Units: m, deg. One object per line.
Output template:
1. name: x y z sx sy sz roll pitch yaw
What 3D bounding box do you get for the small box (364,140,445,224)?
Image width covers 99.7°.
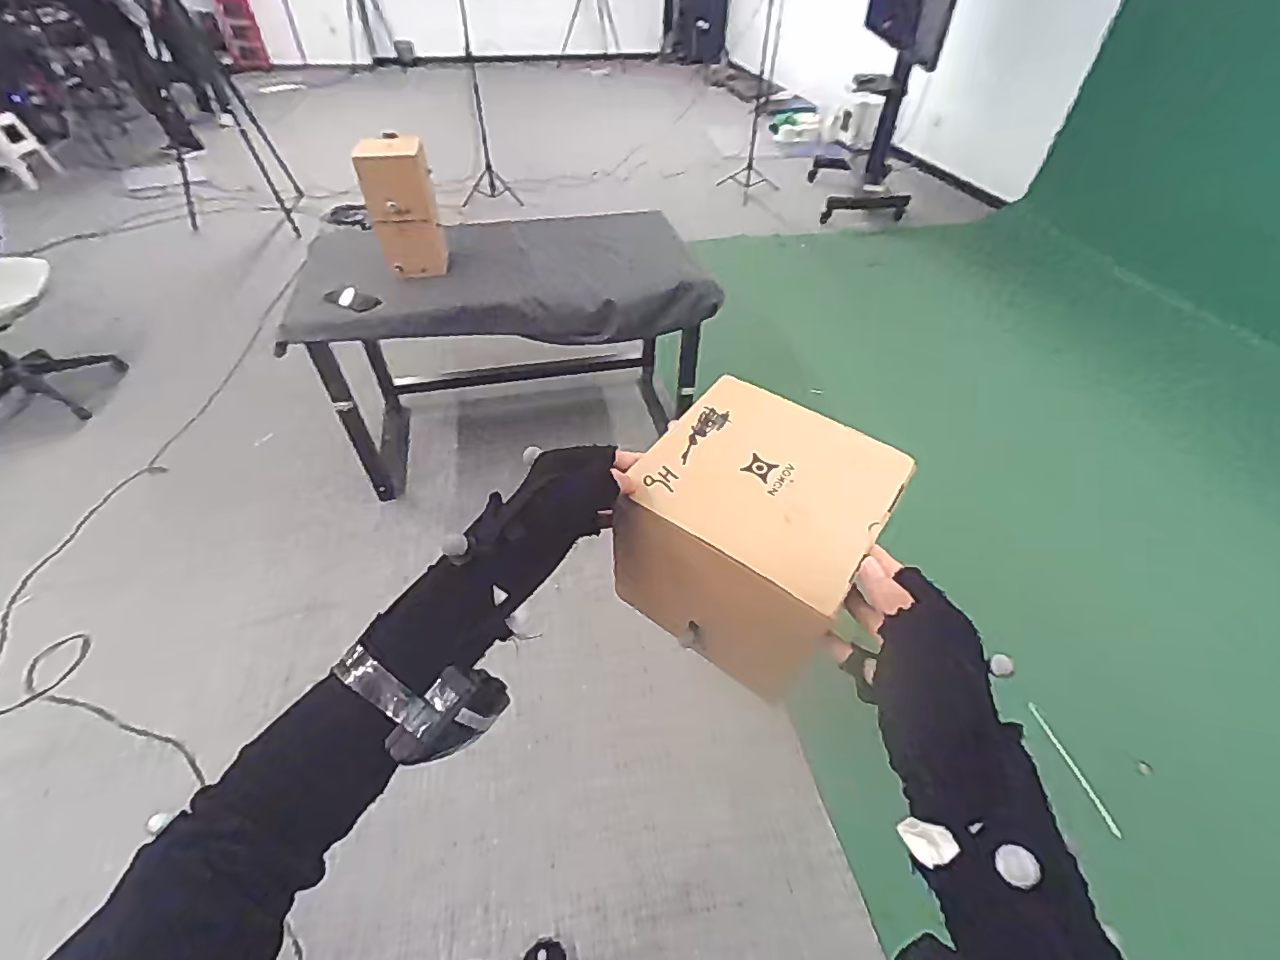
1. small box: -0.655 -0.841 1.526 0.168 0.176 0.179 -8 47 -9

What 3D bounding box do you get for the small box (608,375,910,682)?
1. small box: 0.090 0.047 0.467 0.179 0.176 0.168 31 55 21

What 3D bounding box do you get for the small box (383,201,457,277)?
1. small box: -0.661 -0.730 1.644 0.168 0.176 0.179 -7 45 -9
